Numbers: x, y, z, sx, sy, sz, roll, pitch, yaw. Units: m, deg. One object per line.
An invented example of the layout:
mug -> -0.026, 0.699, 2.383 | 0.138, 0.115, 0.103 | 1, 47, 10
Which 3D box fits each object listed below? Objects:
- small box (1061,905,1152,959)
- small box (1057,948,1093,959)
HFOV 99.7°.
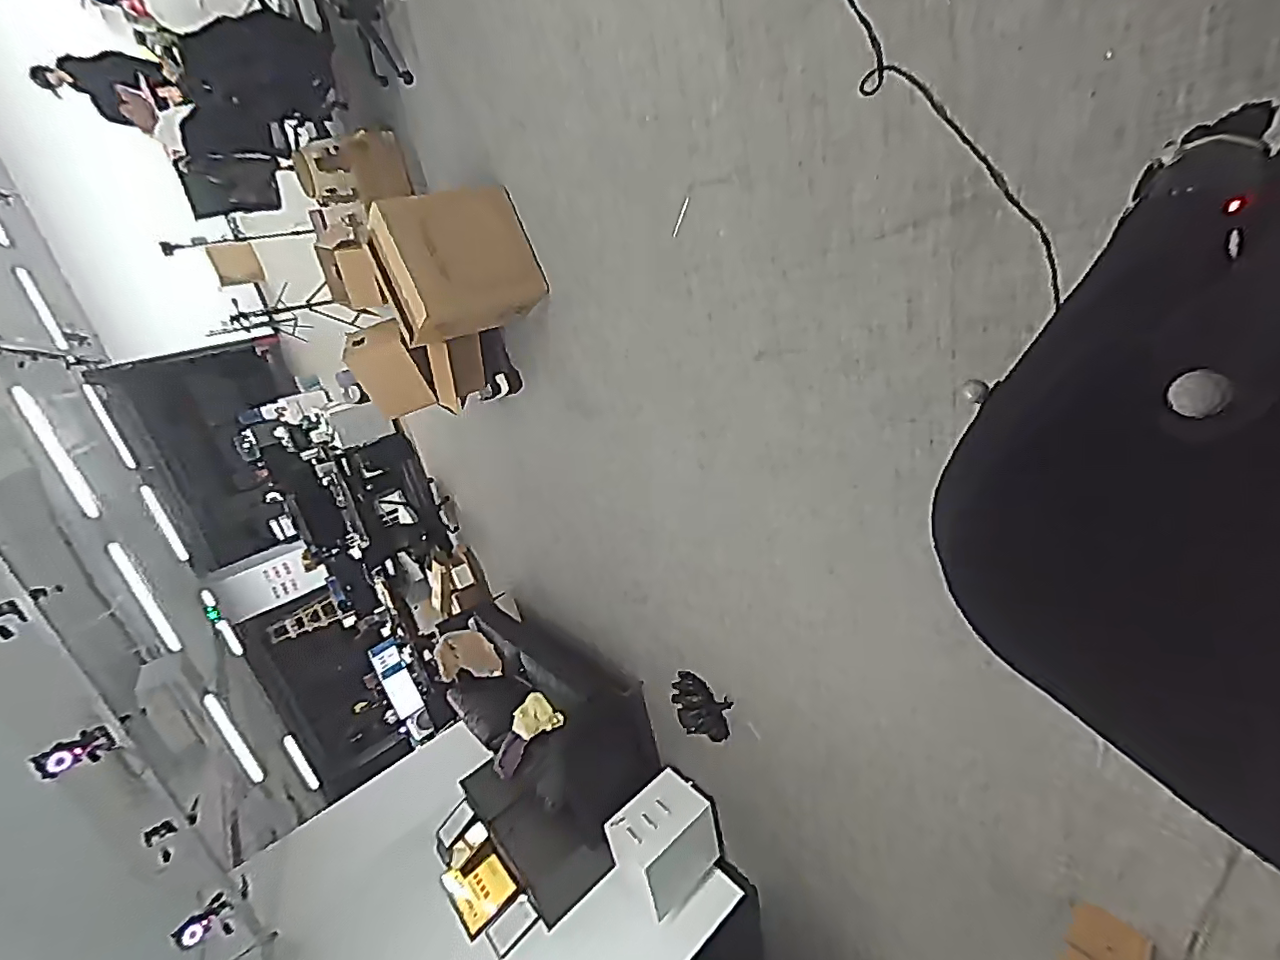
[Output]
small box -> 1.379, 1.420, 1.605 | 0.179, 0.176, 0.168 | 11, 121, 48
small box -> 1.256, 1.471, 1.512 | 0.179, 0.176, 0.168 | 15, 124, 49
